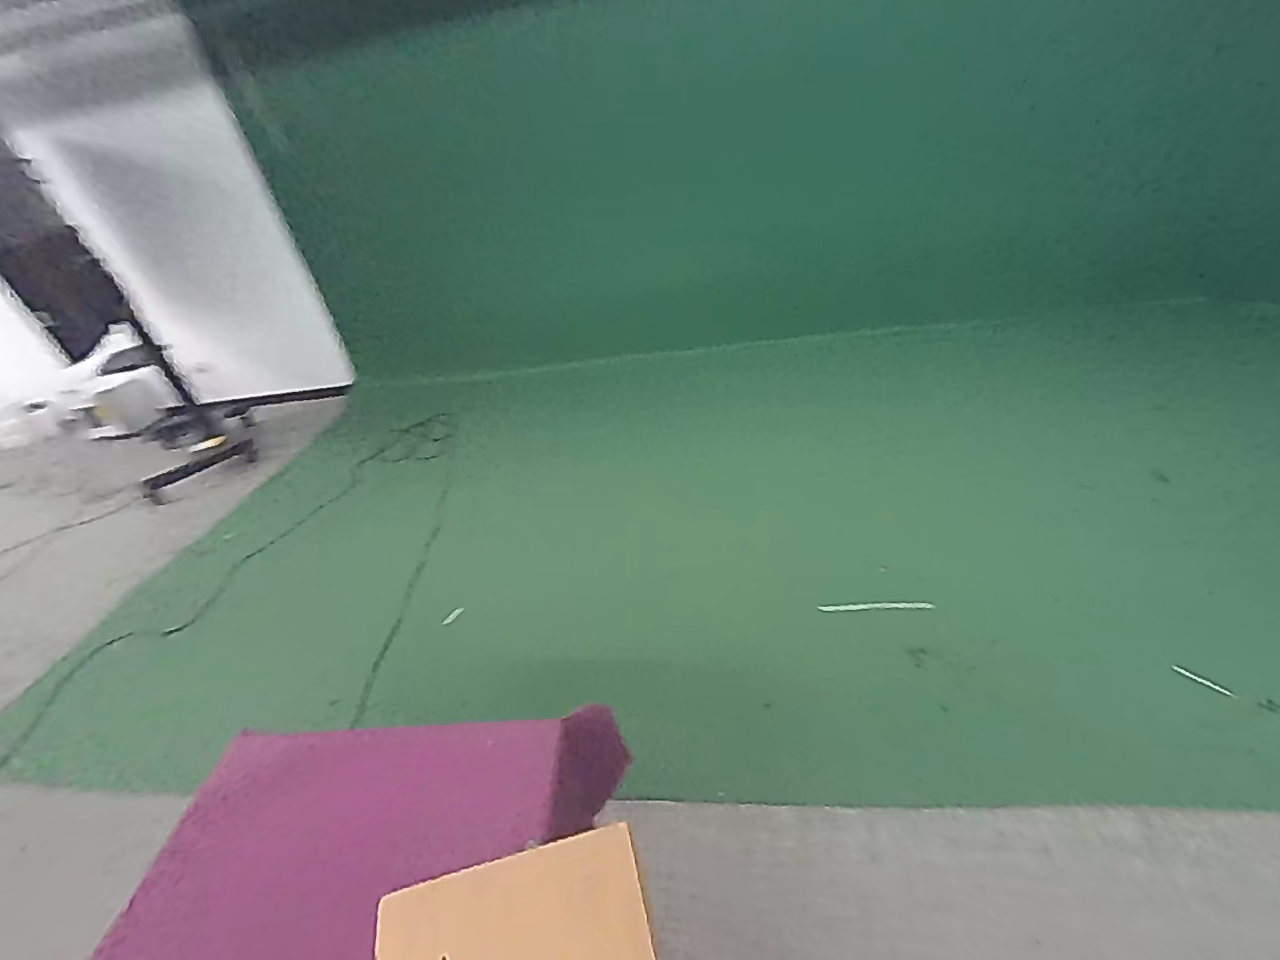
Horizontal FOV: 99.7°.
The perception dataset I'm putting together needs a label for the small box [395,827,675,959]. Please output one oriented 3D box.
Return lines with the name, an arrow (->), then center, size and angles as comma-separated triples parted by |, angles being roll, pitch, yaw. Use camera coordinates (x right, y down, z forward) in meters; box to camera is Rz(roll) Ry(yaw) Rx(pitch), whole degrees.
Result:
small box -> -0.057, 0.376, 0.380 | 0.179, 0.176, 0.168 | -12, 44, -6
